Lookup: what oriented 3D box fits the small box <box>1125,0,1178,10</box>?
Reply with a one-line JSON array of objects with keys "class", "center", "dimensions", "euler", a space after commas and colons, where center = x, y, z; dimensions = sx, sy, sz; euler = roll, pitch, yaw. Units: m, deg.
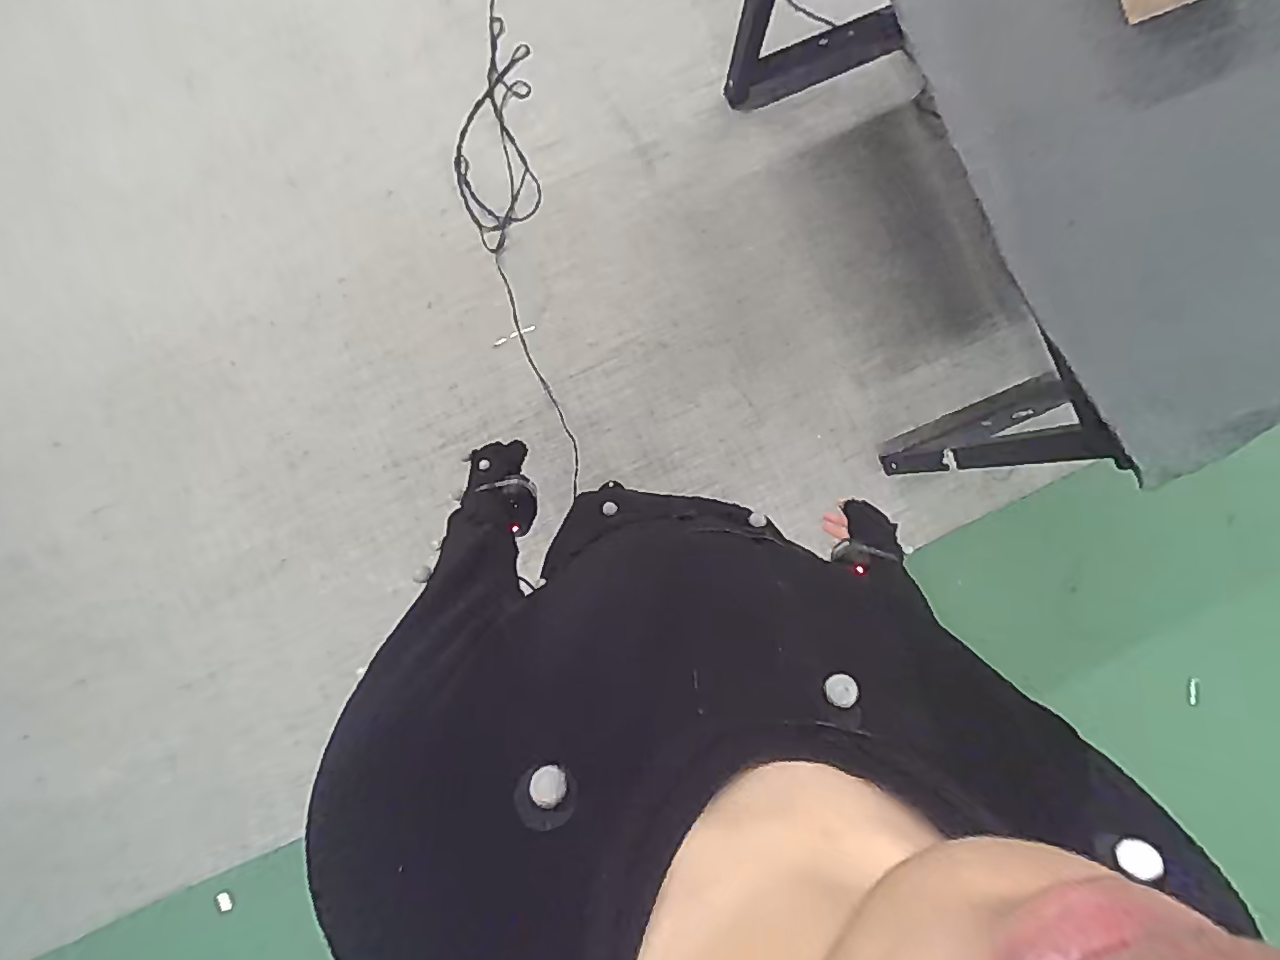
[{"class": "small box", "center": [0.755, -0.767, 0.700], "dimensions": [0.168, 0.176, 0.179], "euler": [-21, 89, -2]}]
